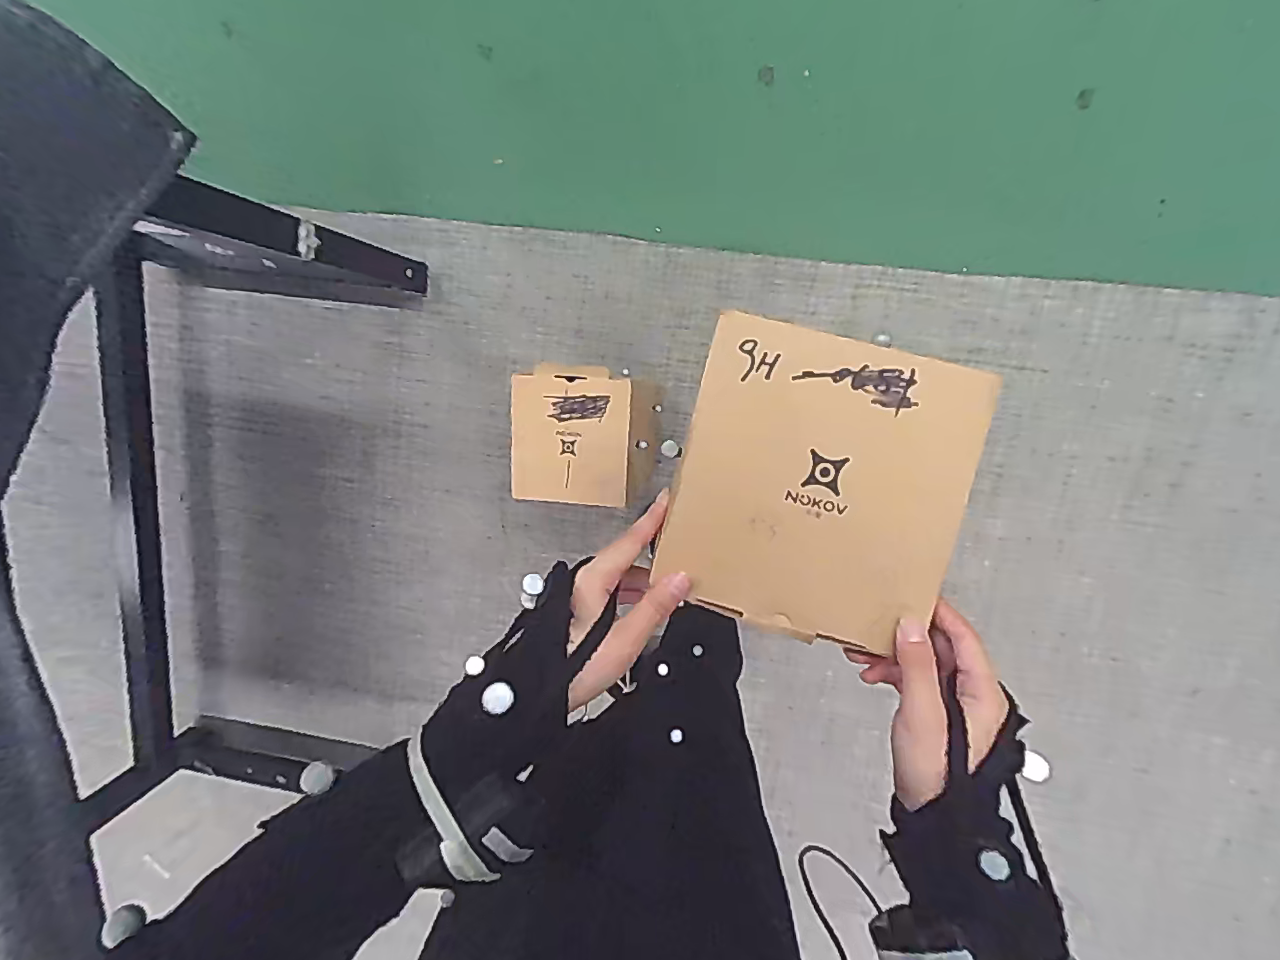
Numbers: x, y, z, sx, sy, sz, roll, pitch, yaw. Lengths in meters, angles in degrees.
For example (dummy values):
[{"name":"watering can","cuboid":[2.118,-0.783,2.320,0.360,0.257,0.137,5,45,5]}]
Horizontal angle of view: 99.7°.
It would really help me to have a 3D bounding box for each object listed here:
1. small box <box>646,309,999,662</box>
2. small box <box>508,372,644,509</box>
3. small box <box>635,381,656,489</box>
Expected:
[{"name":"small box","cuboid":[0.110,-0.001,0.397,0.168,0.176,0.179,15,94,3]},{"name":"small box","cuboid":[-0.087,-0.066,0.803,0.168,0.176,0.179,5,102,7]},{"name":"small box","cuboid":[-0.063,-0.090,0.963,0.168,0.176,0.179,5,102,8]}]
